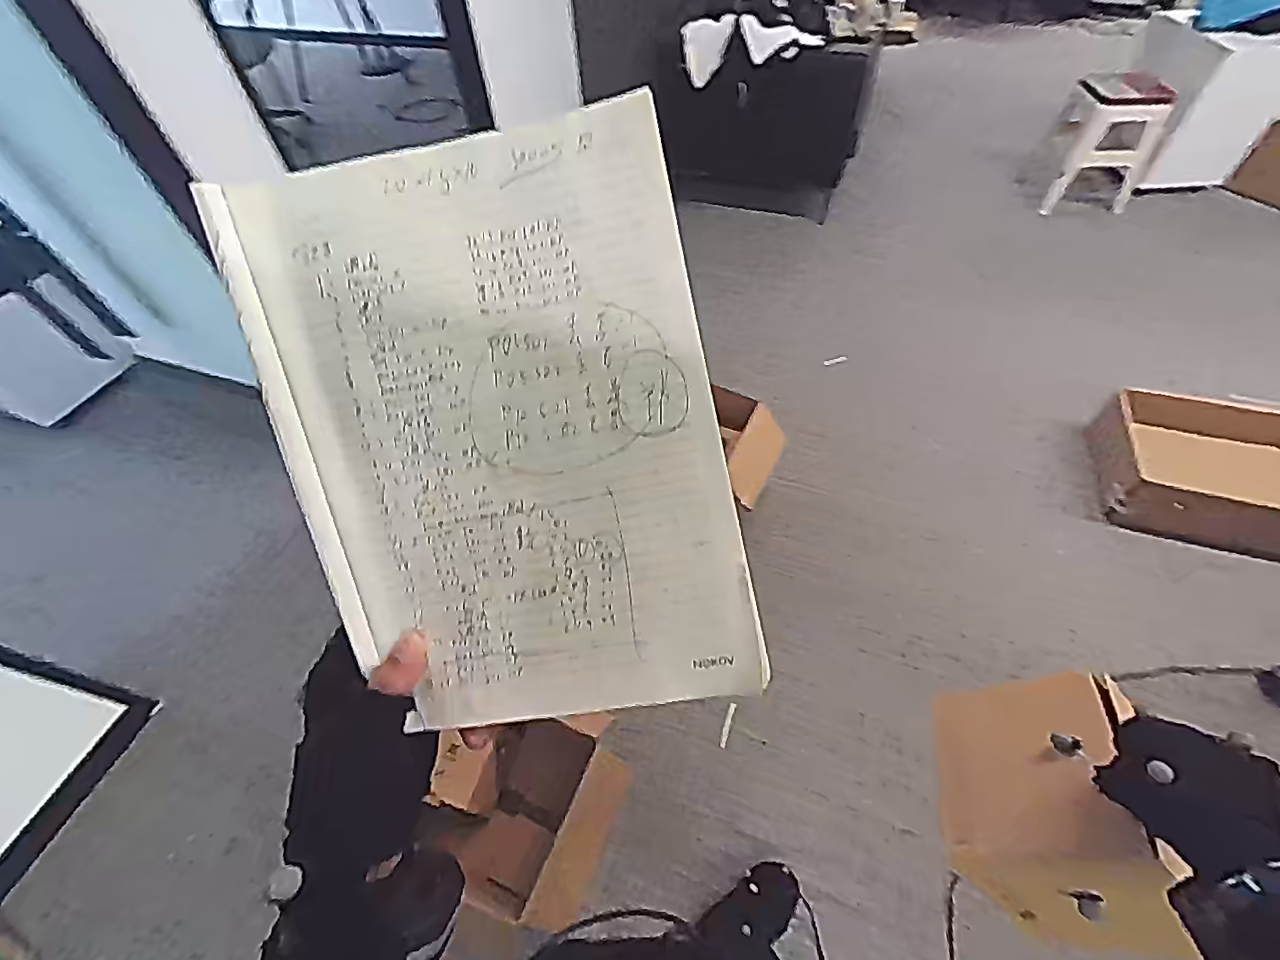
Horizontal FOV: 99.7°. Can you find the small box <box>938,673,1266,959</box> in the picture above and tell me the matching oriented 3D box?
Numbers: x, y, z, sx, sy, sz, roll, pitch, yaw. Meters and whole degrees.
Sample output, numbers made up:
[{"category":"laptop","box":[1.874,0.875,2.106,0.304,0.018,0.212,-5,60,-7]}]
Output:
[{"category":"small box","box":[0.421,0.328,0.528,0.168,0.176,0.179,45,39,-11]}]
